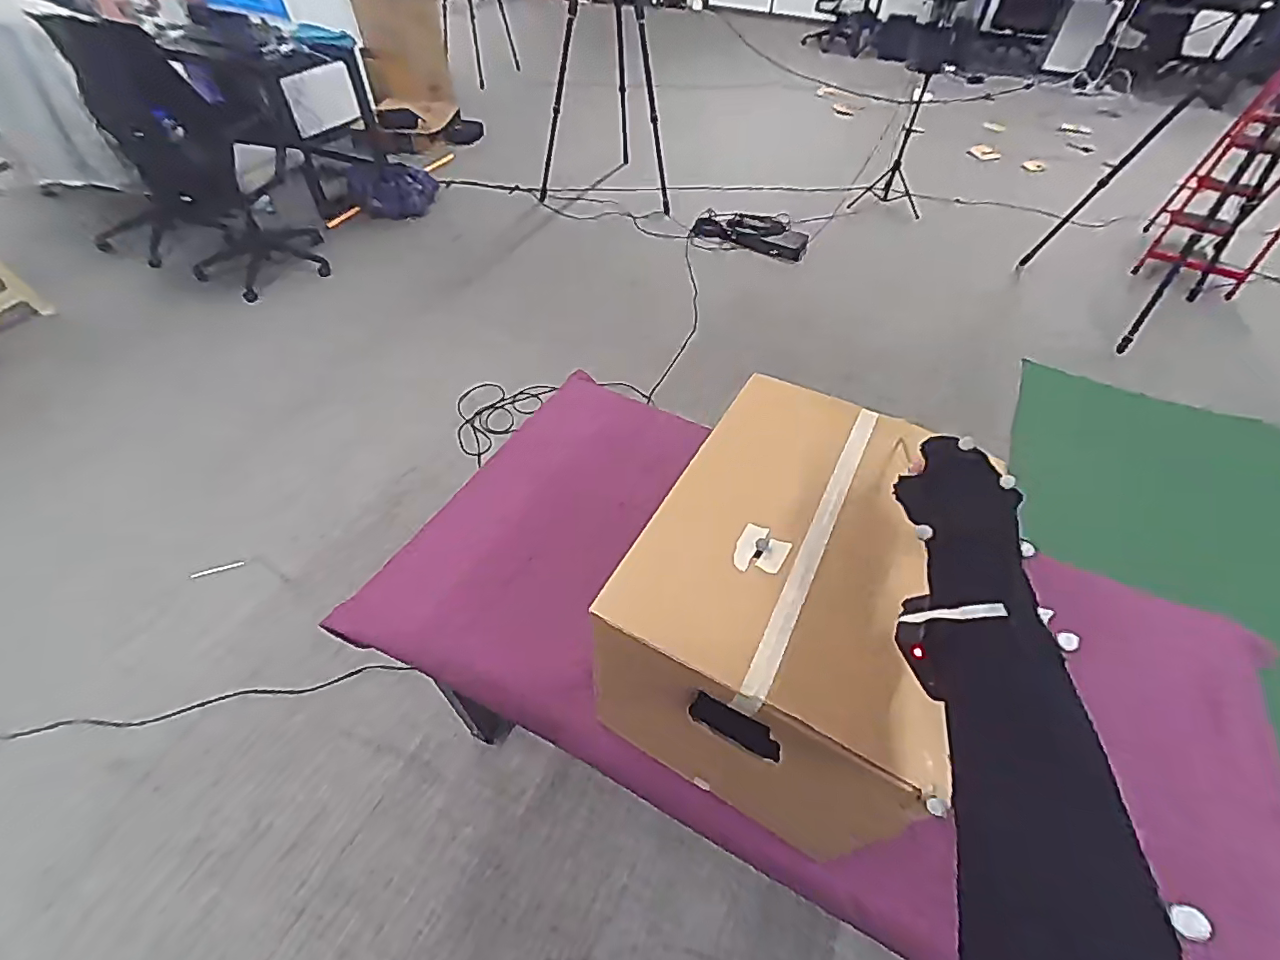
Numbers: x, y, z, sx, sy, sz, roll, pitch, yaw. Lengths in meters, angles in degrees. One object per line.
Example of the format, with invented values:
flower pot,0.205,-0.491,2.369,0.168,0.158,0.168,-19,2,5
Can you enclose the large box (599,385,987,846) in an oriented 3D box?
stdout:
large box,0.180,0.155,0.685,0.320,0.320,0.408,24,53,18
